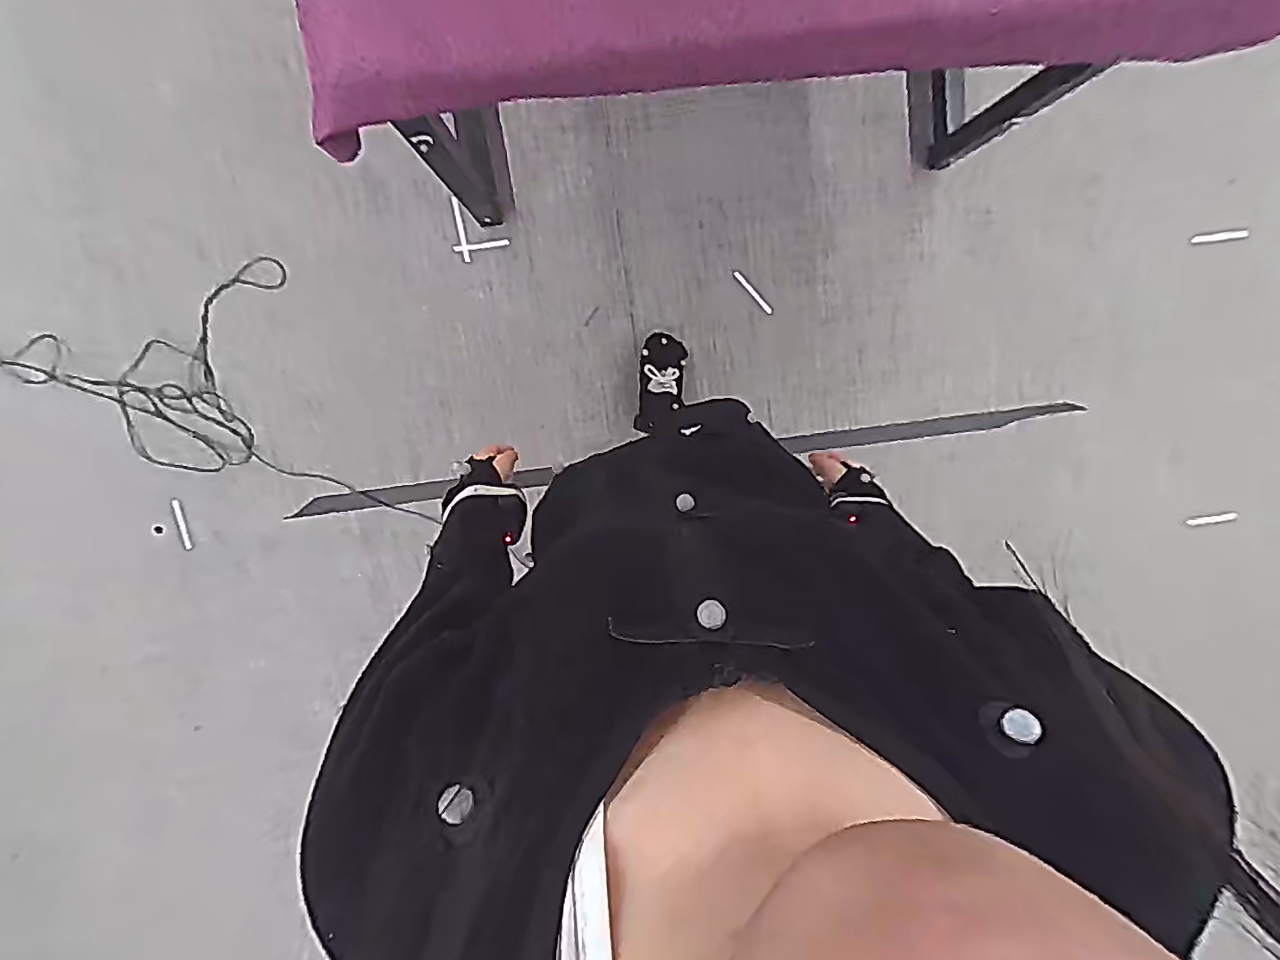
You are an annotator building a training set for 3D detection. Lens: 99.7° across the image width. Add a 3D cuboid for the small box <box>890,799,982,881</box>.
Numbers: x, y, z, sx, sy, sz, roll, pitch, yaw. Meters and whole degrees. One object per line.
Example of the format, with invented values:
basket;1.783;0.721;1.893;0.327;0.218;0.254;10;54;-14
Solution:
small box;0.917;1.133;1.663;0.179;0.176;0.168;38;97;-9
